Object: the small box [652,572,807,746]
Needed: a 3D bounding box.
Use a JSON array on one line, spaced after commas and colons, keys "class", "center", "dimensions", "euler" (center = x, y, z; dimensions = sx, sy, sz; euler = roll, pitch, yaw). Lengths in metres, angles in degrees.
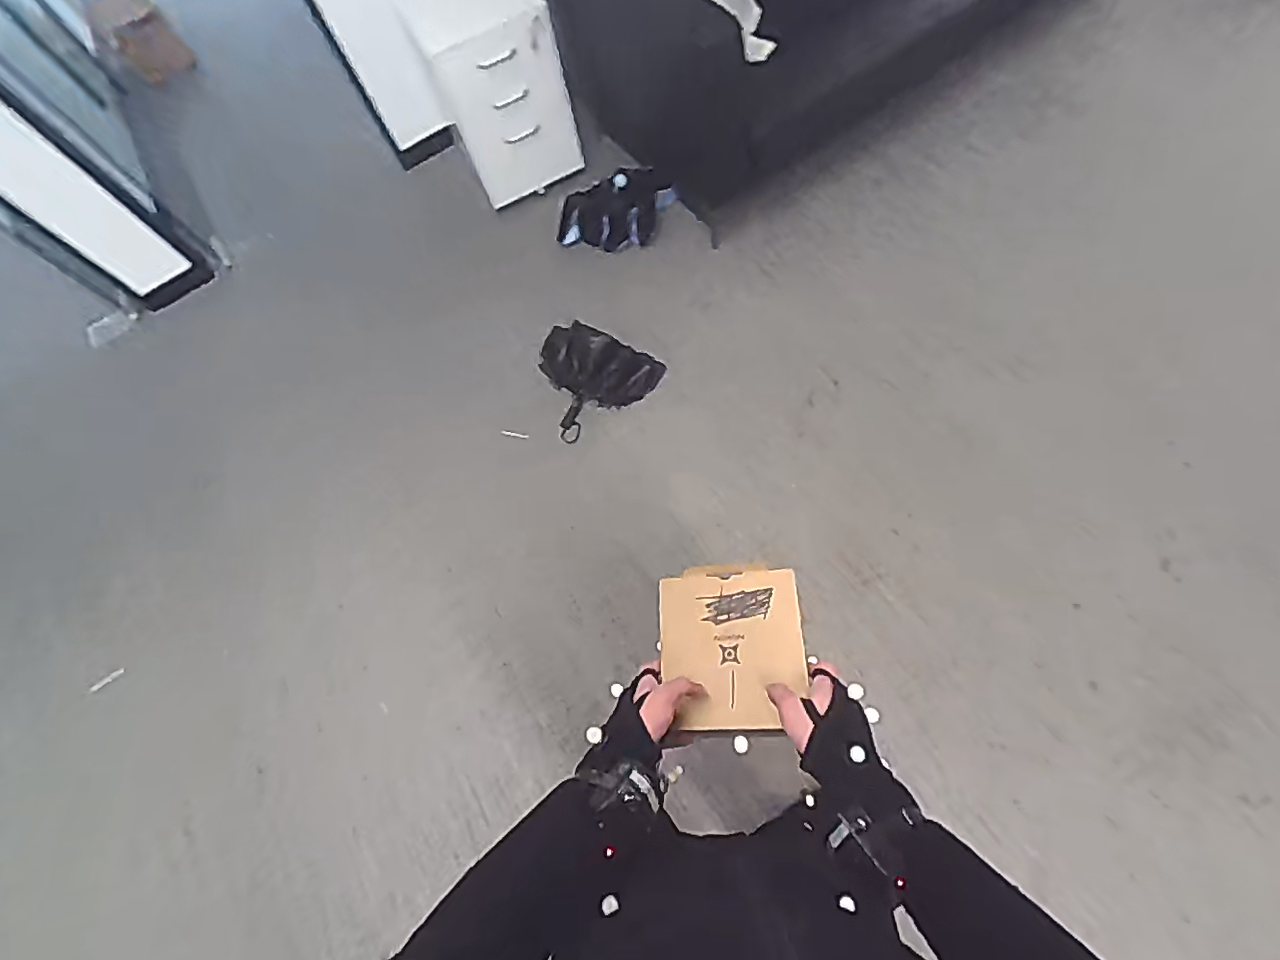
[{"class": "small box", "center": [0.114, 0.232, 0.682], "dimensions": [0.168, 0.176, 0.179], "euler": [-9, 60, 14]}]
